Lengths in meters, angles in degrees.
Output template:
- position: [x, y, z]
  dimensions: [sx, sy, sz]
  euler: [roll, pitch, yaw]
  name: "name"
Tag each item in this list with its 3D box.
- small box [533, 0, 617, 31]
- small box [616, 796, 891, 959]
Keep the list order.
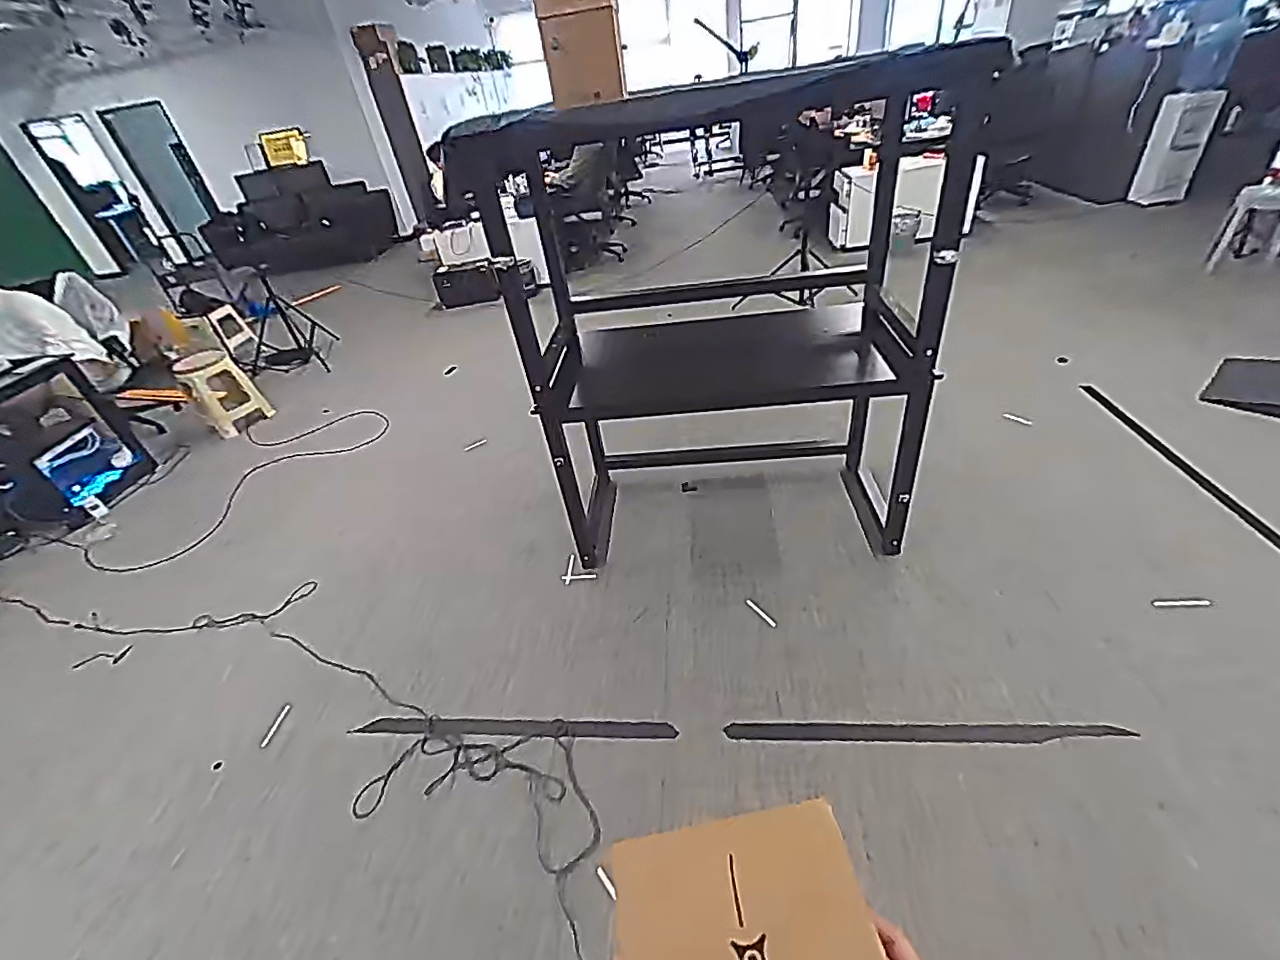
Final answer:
- position: [-0.147, -1.092, 1.159]
  dimensions: [0.168, 0.176, 0.179]
  euler: [-4, 35, 7]
  name: "small box"
- position: [0.085, 0.361, 0.387]
  dimensions: [0.168, 0.176, 0.179]
  euler: [-12, 42, 0]
  name: "small box"
